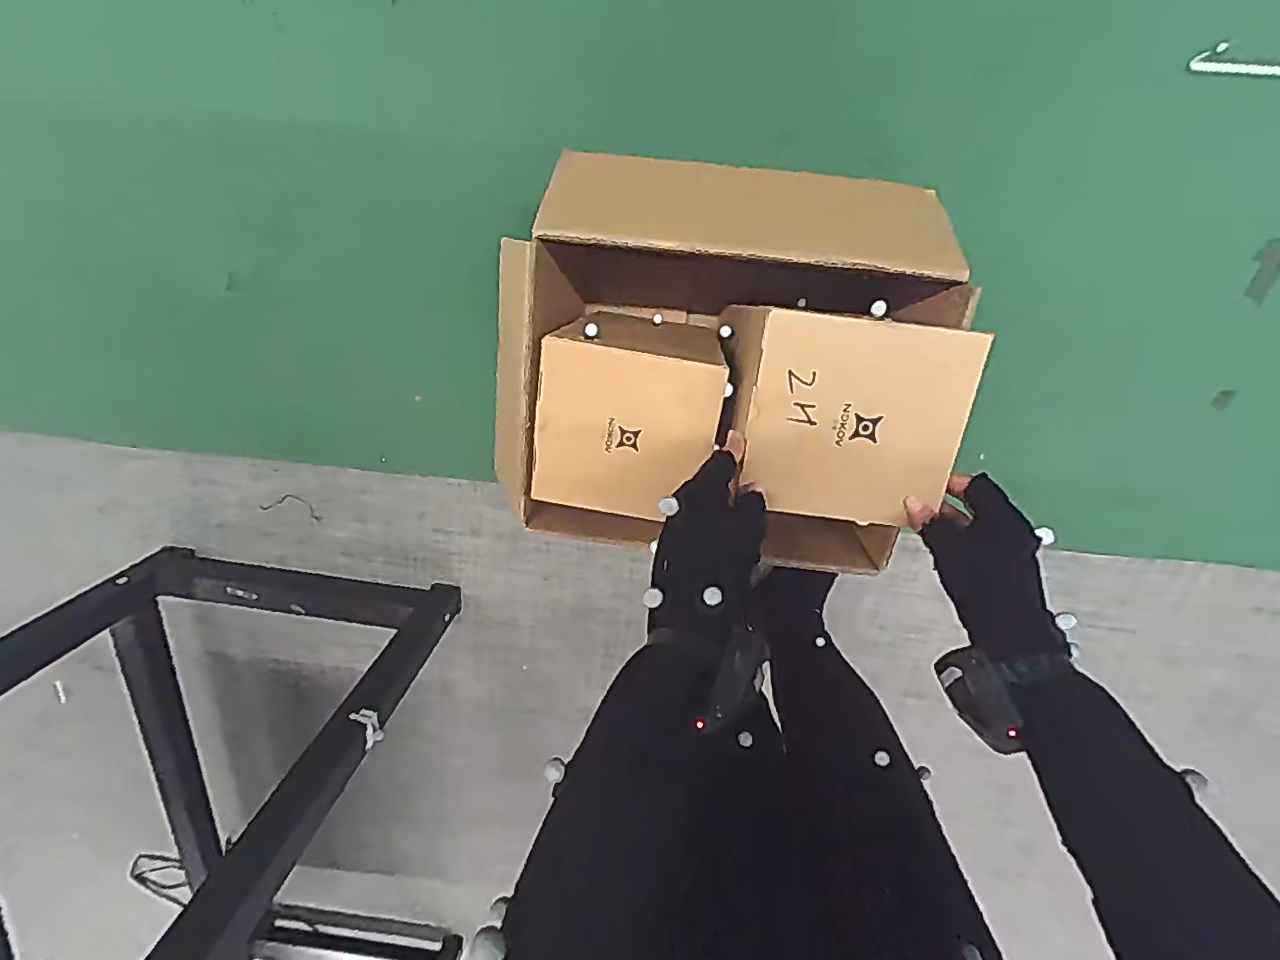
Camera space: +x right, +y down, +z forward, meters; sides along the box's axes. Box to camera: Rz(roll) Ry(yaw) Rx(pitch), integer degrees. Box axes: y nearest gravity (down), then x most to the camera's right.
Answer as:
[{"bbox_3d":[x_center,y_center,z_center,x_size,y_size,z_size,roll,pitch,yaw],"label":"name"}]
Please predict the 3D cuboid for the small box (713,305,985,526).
[{"bbox_3d":[0.173,-0.071,0.513,0.179,0.176,0.168,7,108,1],"label":"small box"}]
